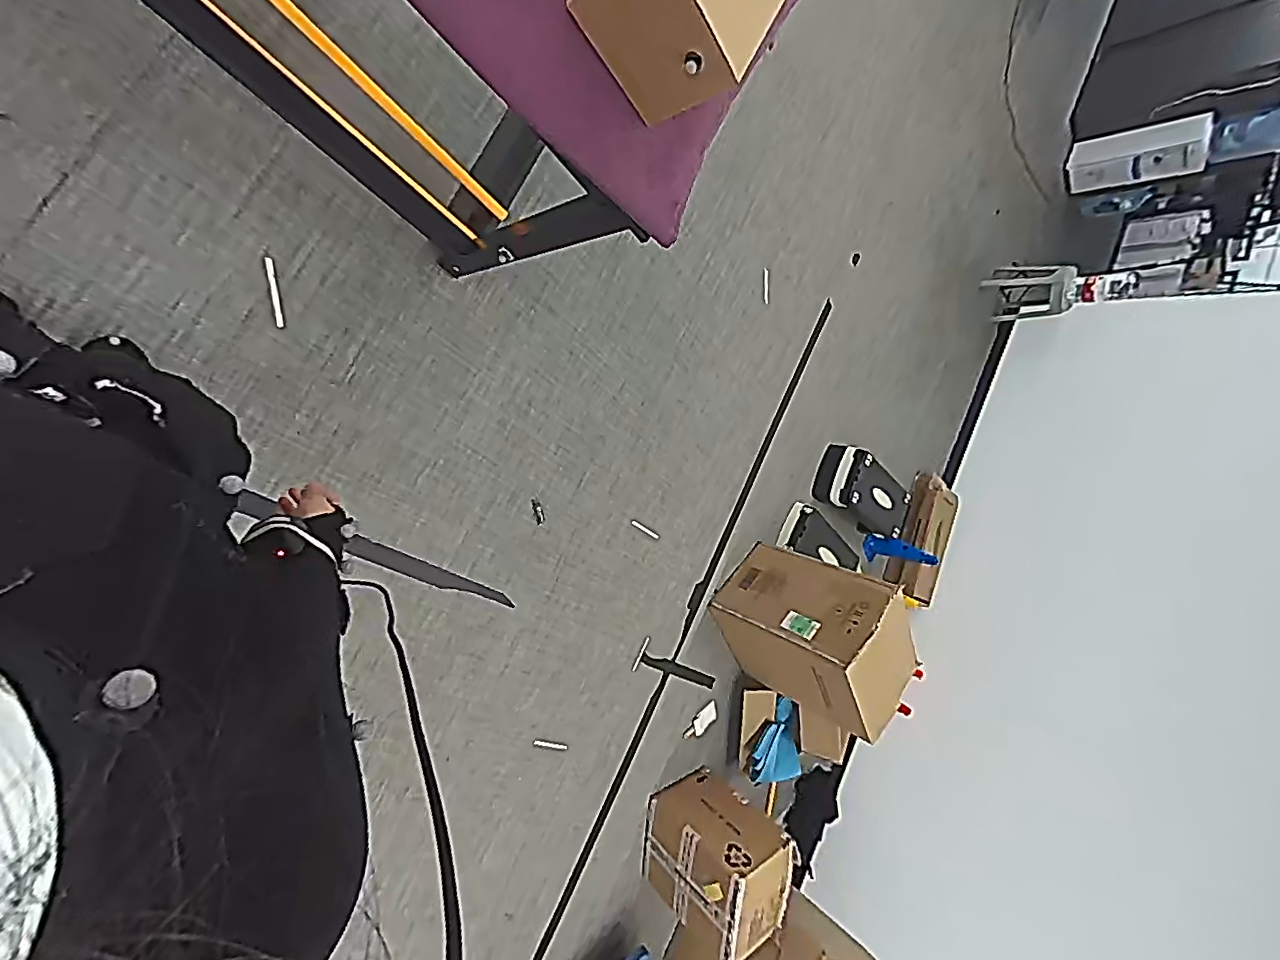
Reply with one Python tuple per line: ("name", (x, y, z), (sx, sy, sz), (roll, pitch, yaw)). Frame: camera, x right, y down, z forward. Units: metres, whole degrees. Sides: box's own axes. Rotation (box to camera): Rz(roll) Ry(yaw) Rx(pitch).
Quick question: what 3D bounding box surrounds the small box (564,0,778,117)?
("small box", (0.040, -0.605, 0.690), (0.179, 0.176, 0.168), (38, 73, -40))
